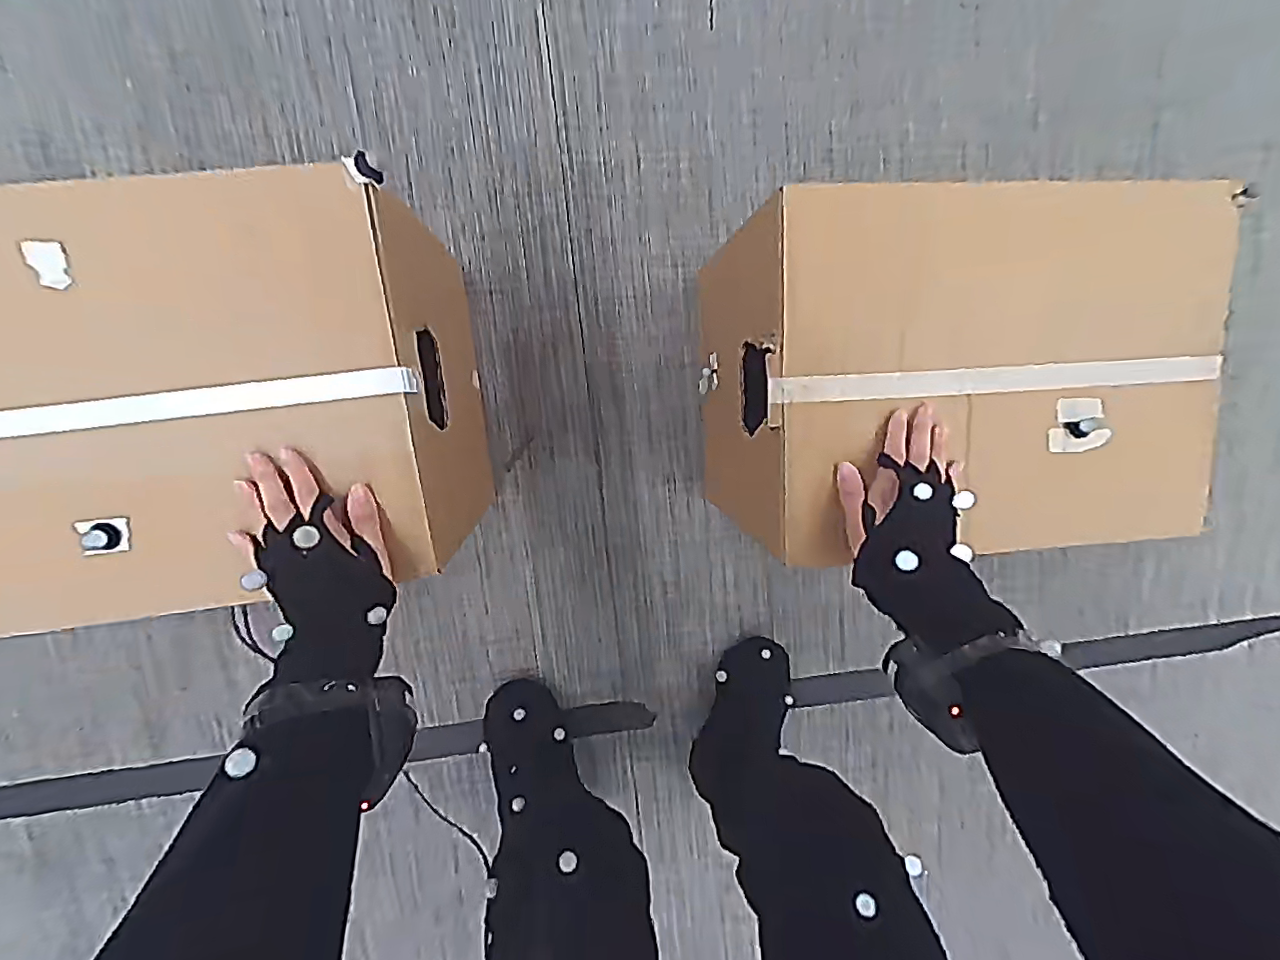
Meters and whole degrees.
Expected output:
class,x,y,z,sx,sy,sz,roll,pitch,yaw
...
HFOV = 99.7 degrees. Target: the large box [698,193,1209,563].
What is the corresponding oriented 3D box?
class,x,y,z,sx,sy,sz,roll,pitch,yaw
large box,0.300,-0.112,0.629,0.408,0.320,0.320,-4,100,-6
